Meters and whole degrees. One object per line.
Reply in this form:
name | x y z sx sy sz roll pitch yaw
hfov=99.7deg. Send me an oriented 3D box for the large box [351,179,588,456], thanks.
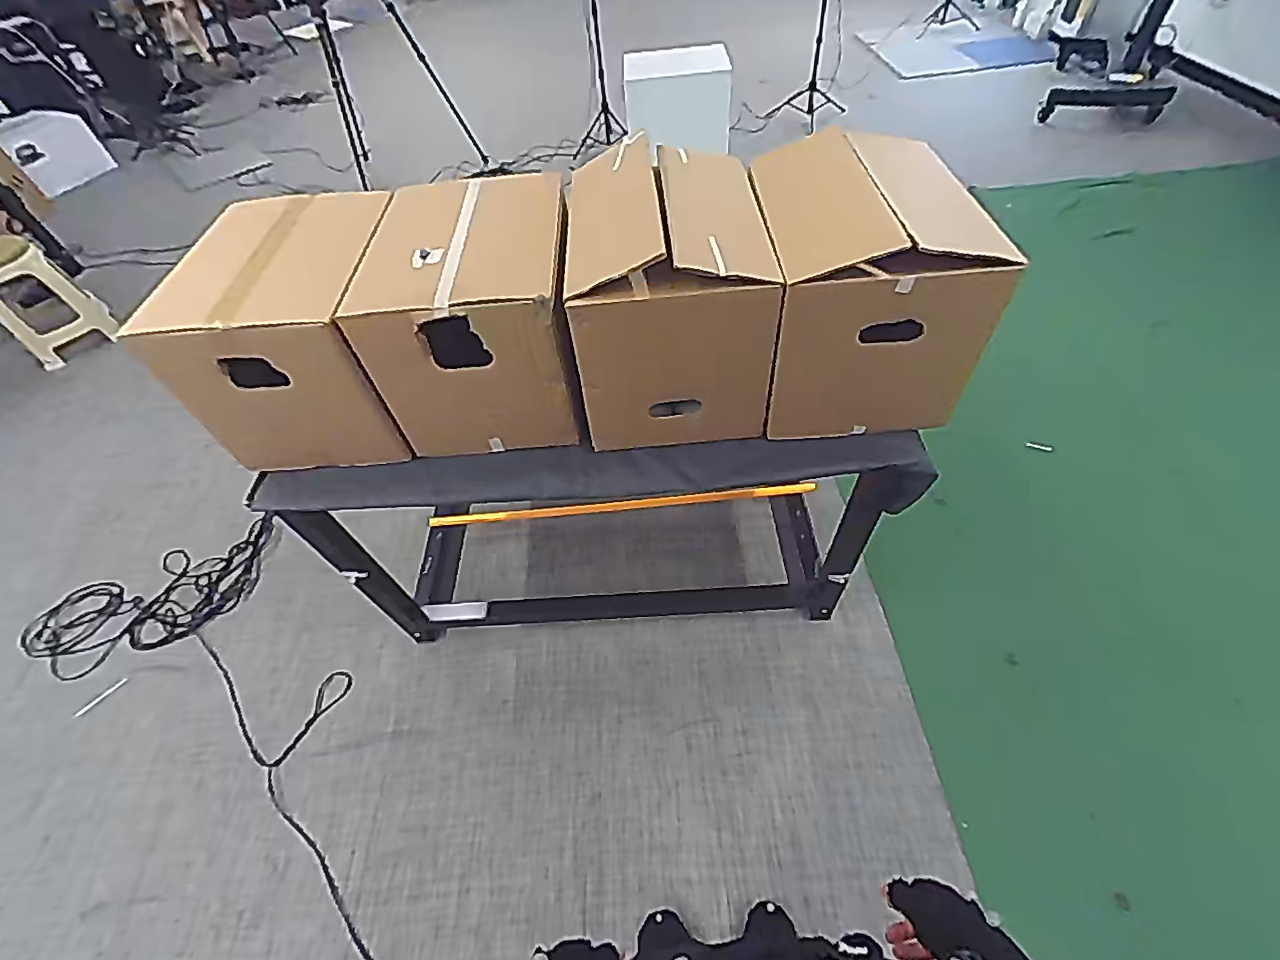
large box | -0.267 -0.302 1.009 0.320 0.320 0.408 -5 53 2
